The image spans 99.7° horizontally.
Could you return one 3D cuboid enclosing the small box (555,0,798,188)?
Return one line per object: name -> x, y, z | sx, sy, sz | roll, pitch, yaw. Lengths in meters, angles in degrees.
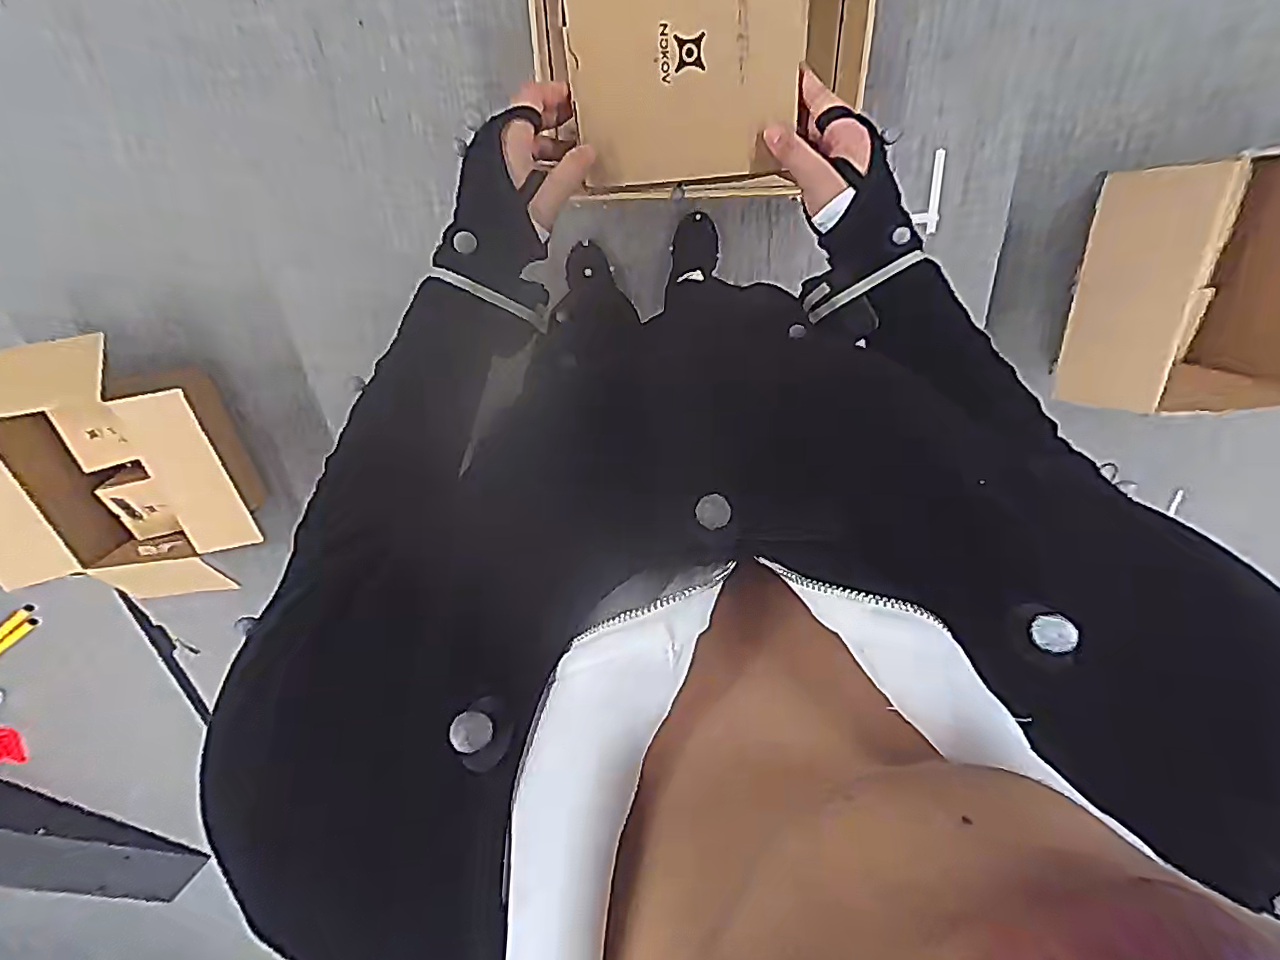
small box -> 0.024, -0.356, 0.469 | 0.179, 0.176, 0.168 | -8, 117, -2
